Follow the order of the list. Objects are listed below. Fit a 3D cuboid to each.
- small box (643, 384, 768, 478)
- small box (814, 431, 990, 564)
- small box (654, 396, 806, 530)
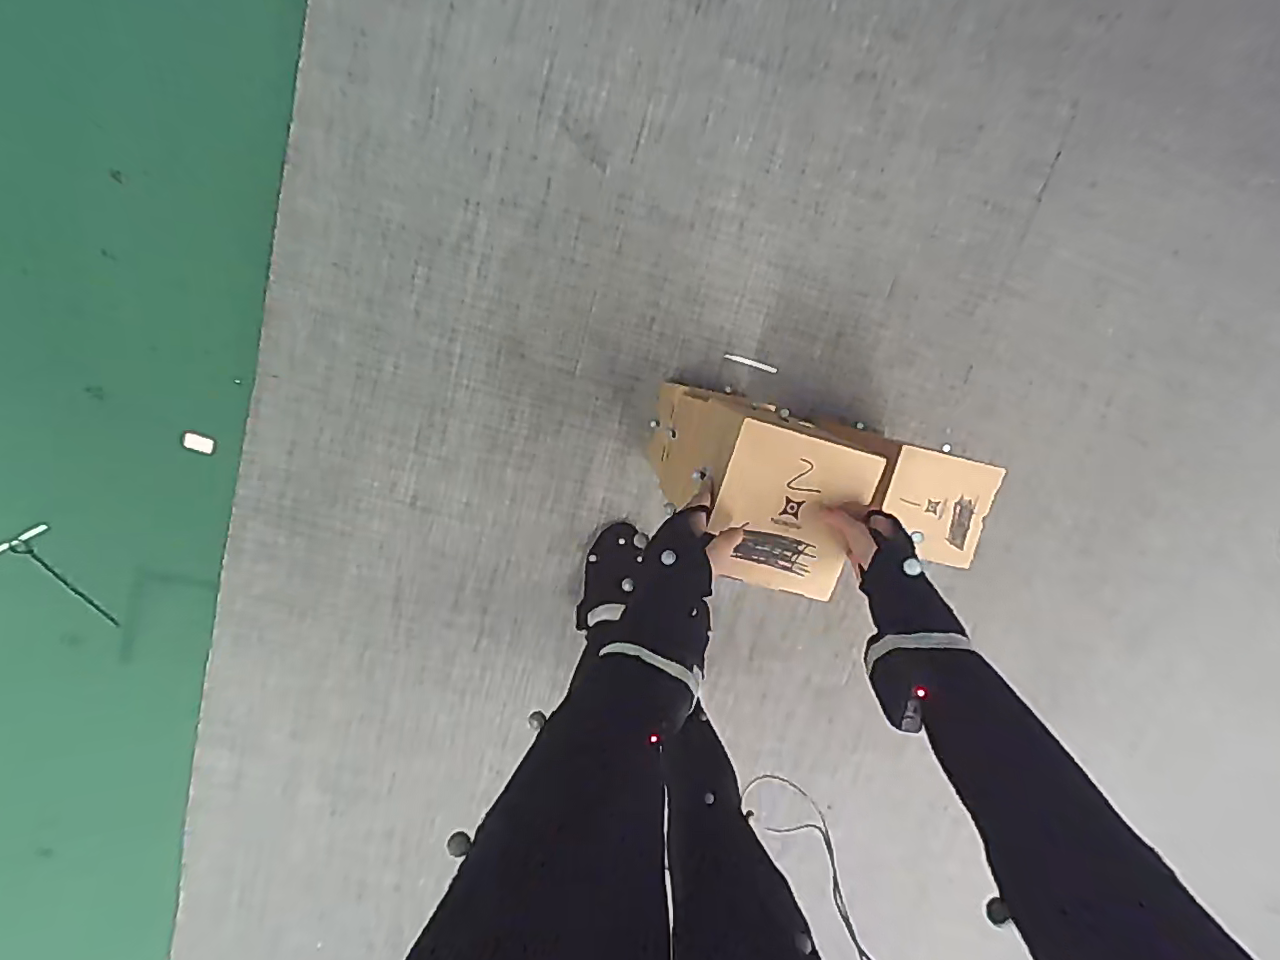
[{"bbox_3d":[0.113,-0.083,1.017,0.179,0.176,0.168,11,101,-8],"label":"small box"},{"bbox_3d":[0.425,0.021,0.906,0.179,0.176,0.168,13,100,-8],"label":"small box"},{"bbox_3d":[0.131,-0.036,0.861,0.179,0.176,0.168,11,101,-8],"label":"small box"}]
